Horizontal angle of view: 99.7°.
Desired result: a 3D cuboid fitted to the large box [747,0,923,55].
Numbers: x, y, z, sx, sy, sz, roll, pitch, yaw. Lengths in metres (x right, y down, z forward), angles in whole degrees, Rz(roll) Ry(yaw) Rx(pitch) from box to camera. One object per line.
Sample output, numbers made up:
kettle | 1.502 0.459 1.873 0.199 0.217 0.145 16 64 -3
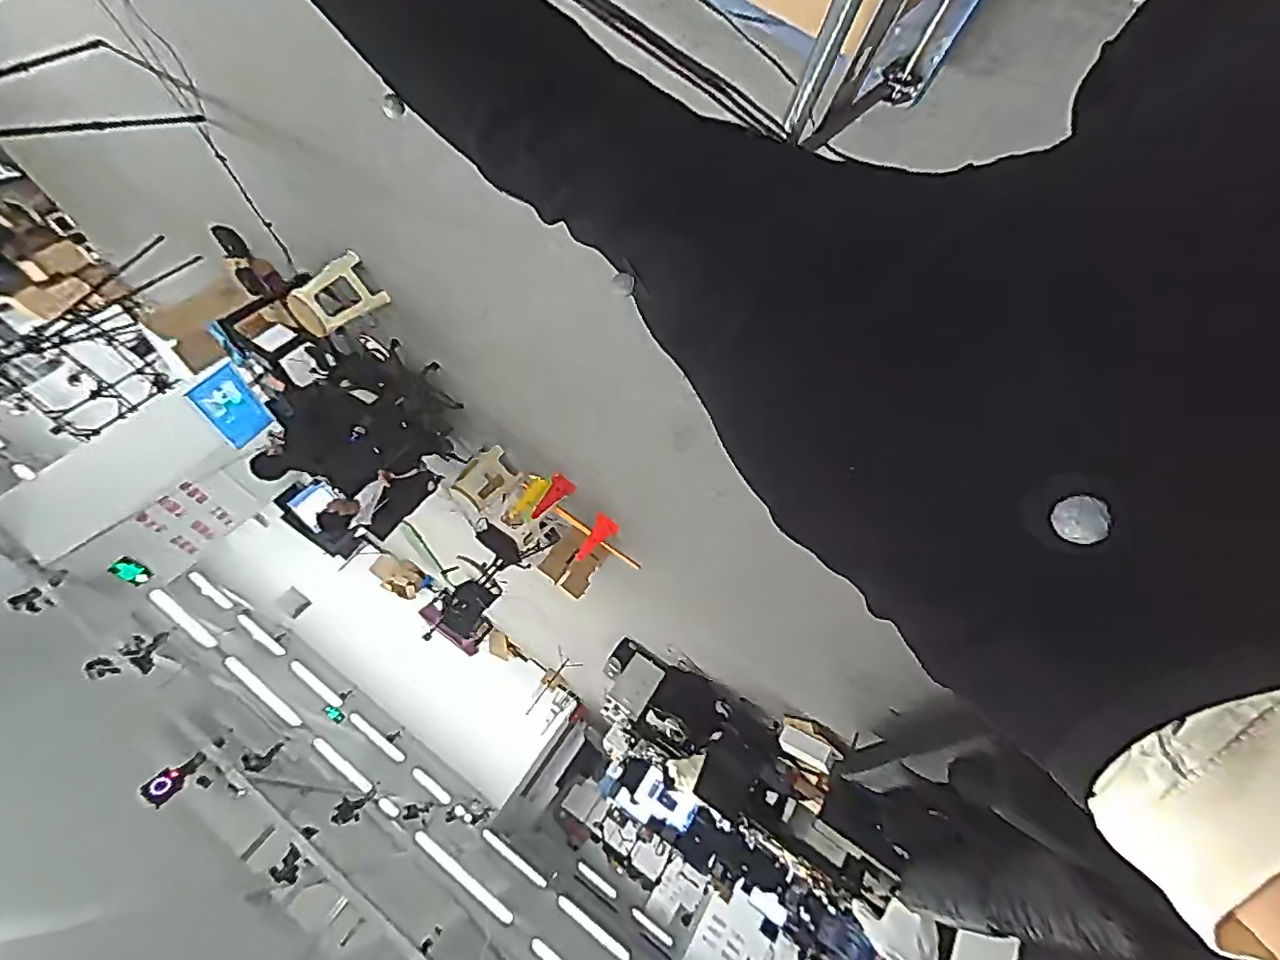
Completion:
large box | 0.308 -0.973 0.848 0.408 0.320 0.320 36 151 8
